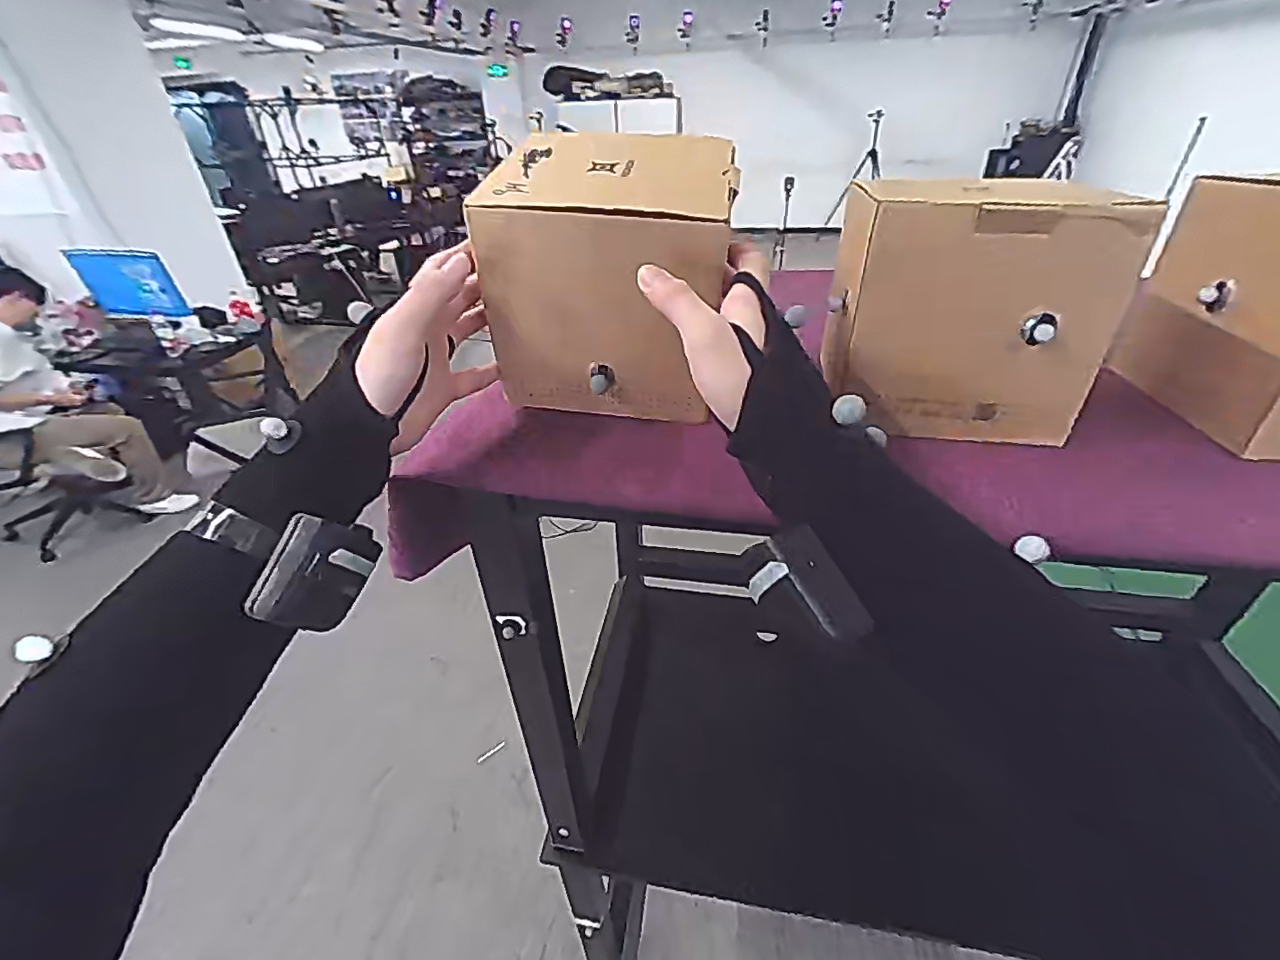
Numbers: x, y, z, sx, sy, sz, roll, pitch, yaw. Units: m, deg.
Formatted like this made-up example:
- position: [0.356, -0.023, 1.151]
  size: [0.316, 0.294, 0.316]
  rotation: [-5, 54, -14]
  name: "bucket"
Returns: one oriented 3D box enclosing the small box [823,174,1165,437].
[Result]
- position: [0.251, -0.147, 0.443]
  size: [0.168, 0.176, 0.179]
  rotation: [6, 33, 11]
  name: "small box"
